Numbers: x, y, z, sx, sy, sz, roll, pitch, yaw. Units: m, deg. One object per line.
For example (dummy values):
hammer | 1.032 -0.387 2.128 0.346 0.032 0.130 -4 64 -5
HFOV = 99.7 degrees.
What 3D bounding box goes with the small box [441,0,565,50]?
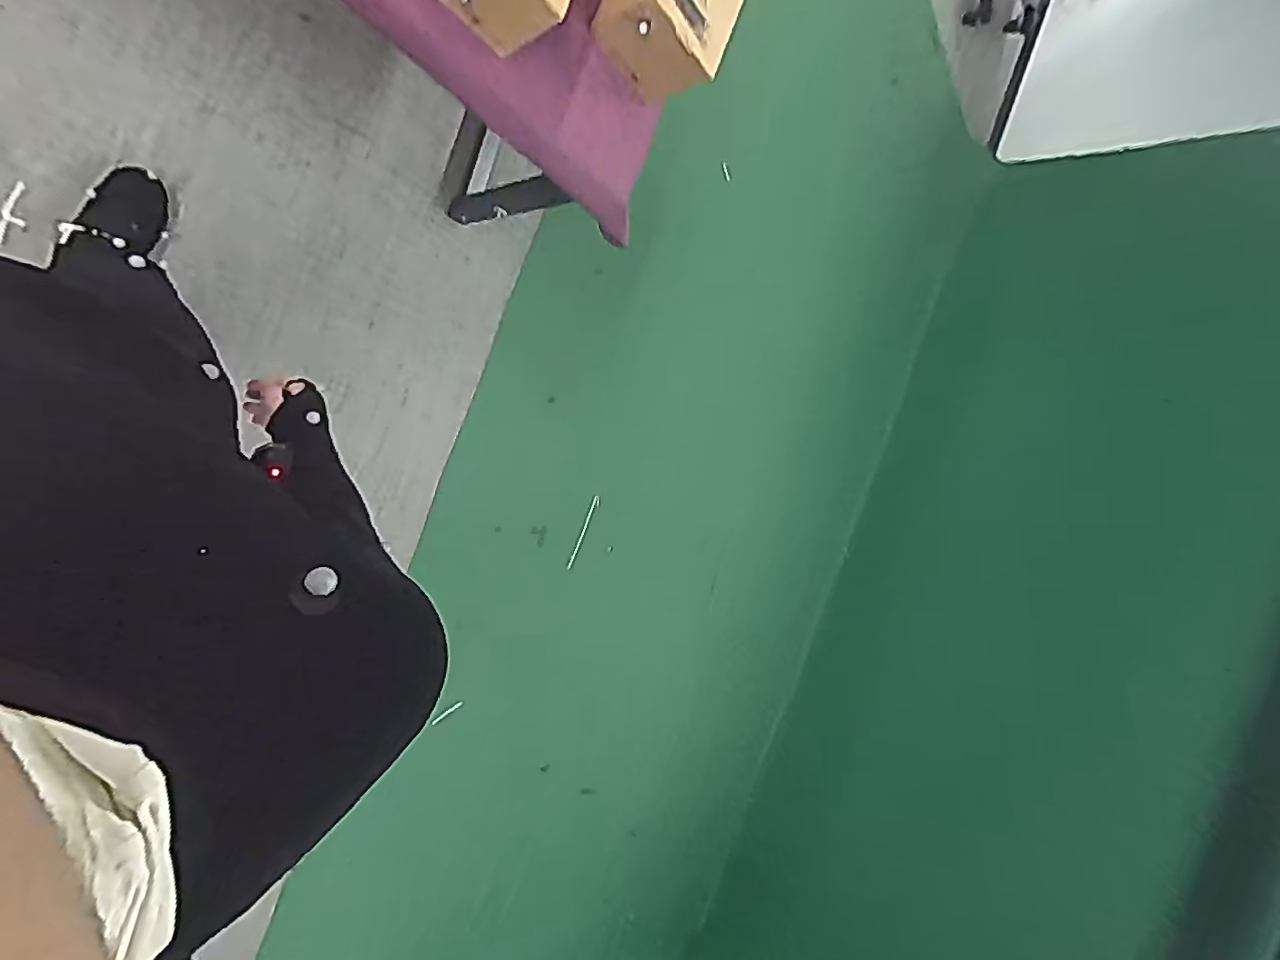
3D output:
small box | -0.193 -0.751 0.740 0.168 0.176 0.179 19 90 -47
